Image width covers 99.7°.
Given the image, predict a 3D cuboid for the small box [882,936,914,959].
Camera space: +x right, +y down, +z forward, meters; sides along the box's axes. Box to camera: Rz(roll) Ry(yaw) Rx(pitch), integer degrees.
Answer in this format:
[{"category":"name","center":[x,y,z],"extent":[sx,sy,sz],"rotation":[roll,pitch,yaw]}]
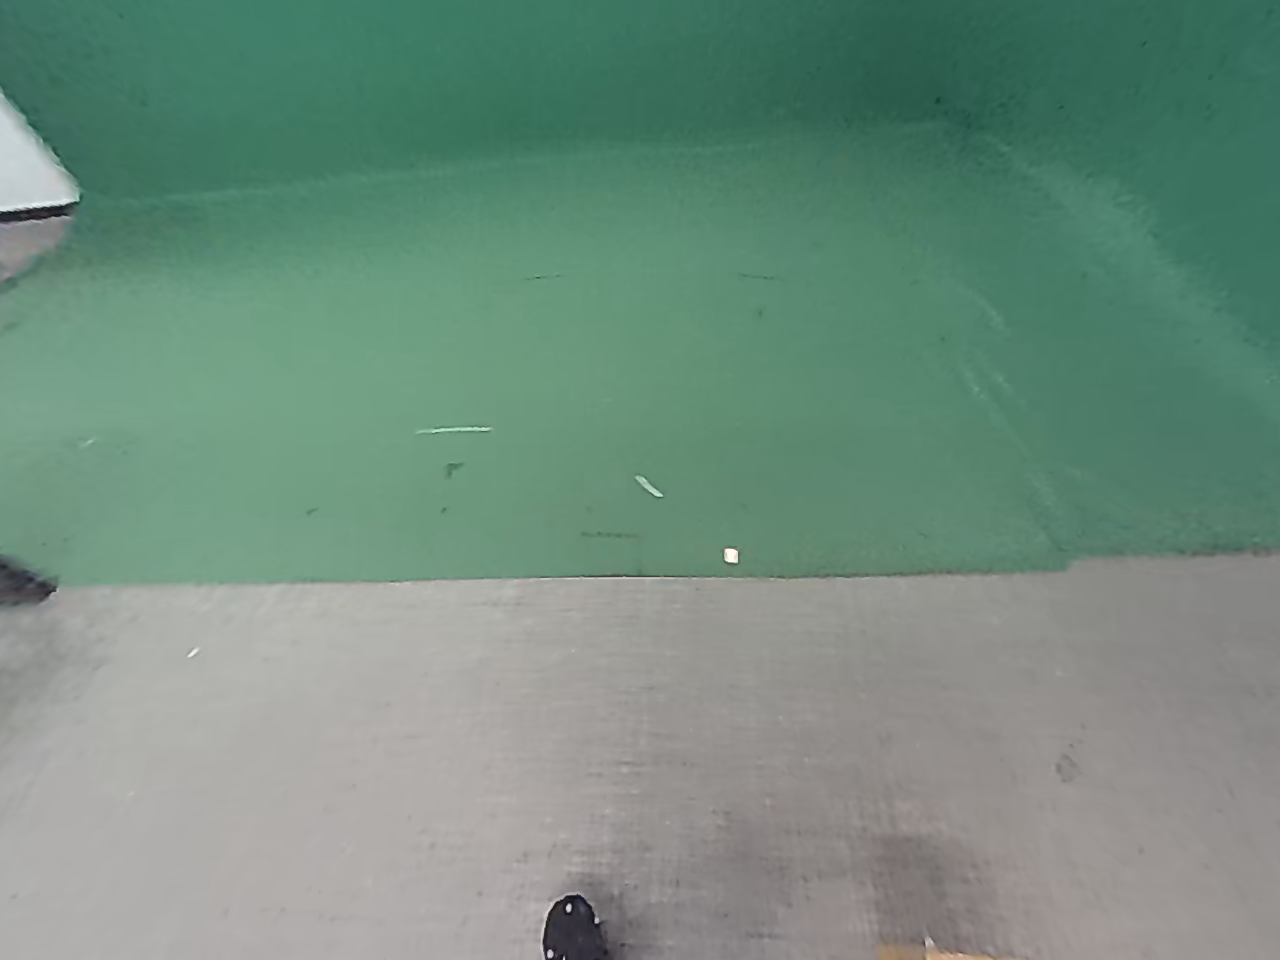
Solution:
[{"category":"small box","center":[0.526,0.907,0.921],"extent":[0.168,0.176,0.179],"rotation":[4,52,9]}]

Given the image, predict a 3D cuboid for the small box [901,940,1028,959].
[{"category":"small box","center":[0.503,0.807,0.797],"extent":[0.168,0.176,0.179],"rotation":[1,52,9]}]
